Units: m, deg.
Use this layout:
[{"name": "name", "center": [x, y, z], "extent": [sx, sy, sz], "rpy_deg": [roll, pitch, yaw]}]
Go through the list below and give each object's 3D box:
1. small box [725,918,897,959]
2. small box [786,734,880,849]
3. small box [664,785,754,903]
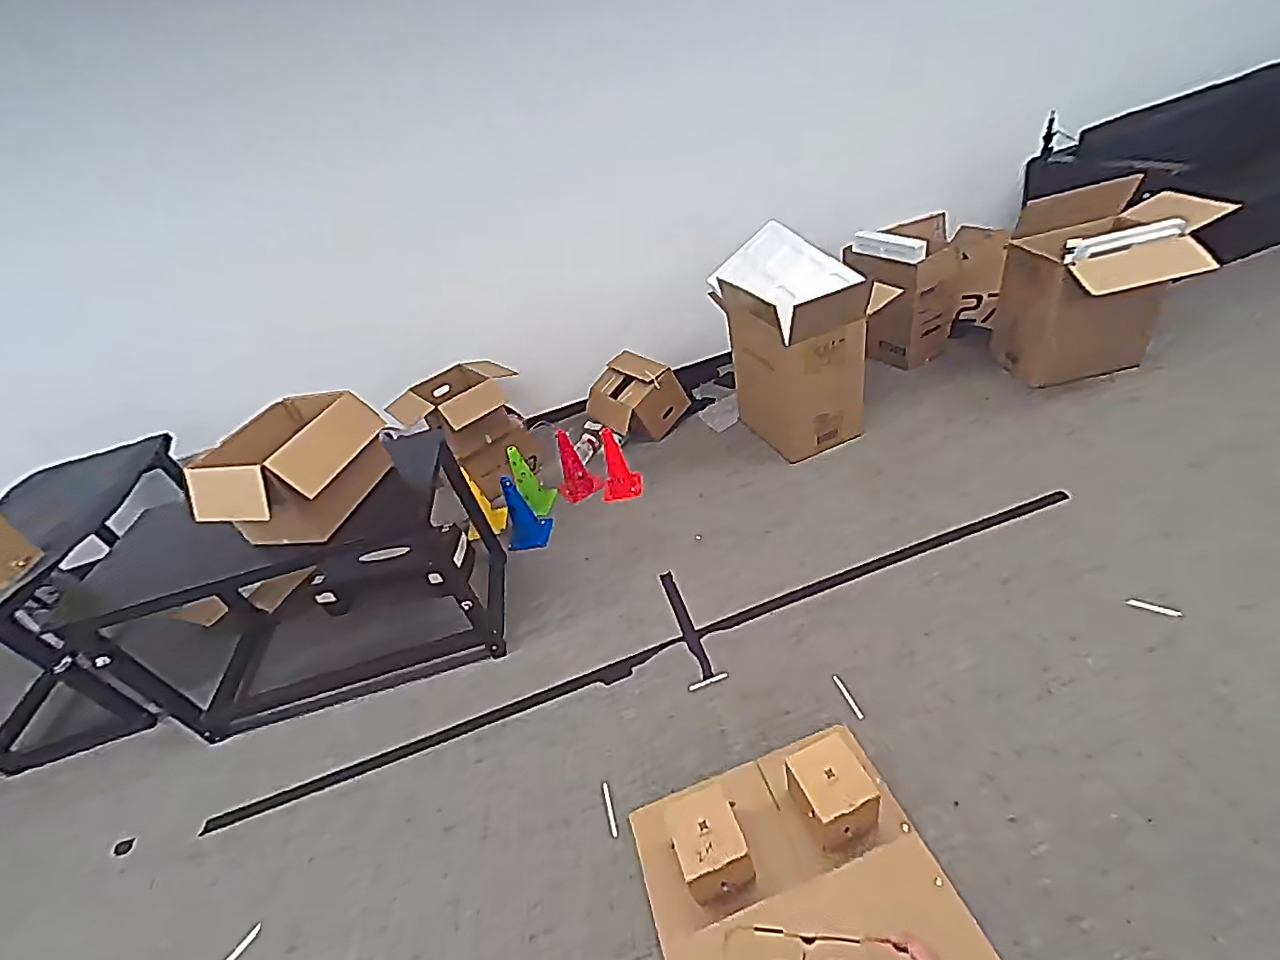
[{"name": "small box", "center": [0.170, 0.567, 0.526], "extent": [0.168, 0.176, 0.179], "rpy_deg": [-4, 39, 14]}, {"name": "small box", "center": [0.499, 0.815, 1.416], "extent": [0.168, 0.176, 0.179], "rpy_deg": [-22, 38, -9]}, {"name": "small box", "center": [0.175, 0.926, 1.377], "extent": [0.168, 0.176, 0.179], "rpy_deg": [-21, 37, -6]}]
